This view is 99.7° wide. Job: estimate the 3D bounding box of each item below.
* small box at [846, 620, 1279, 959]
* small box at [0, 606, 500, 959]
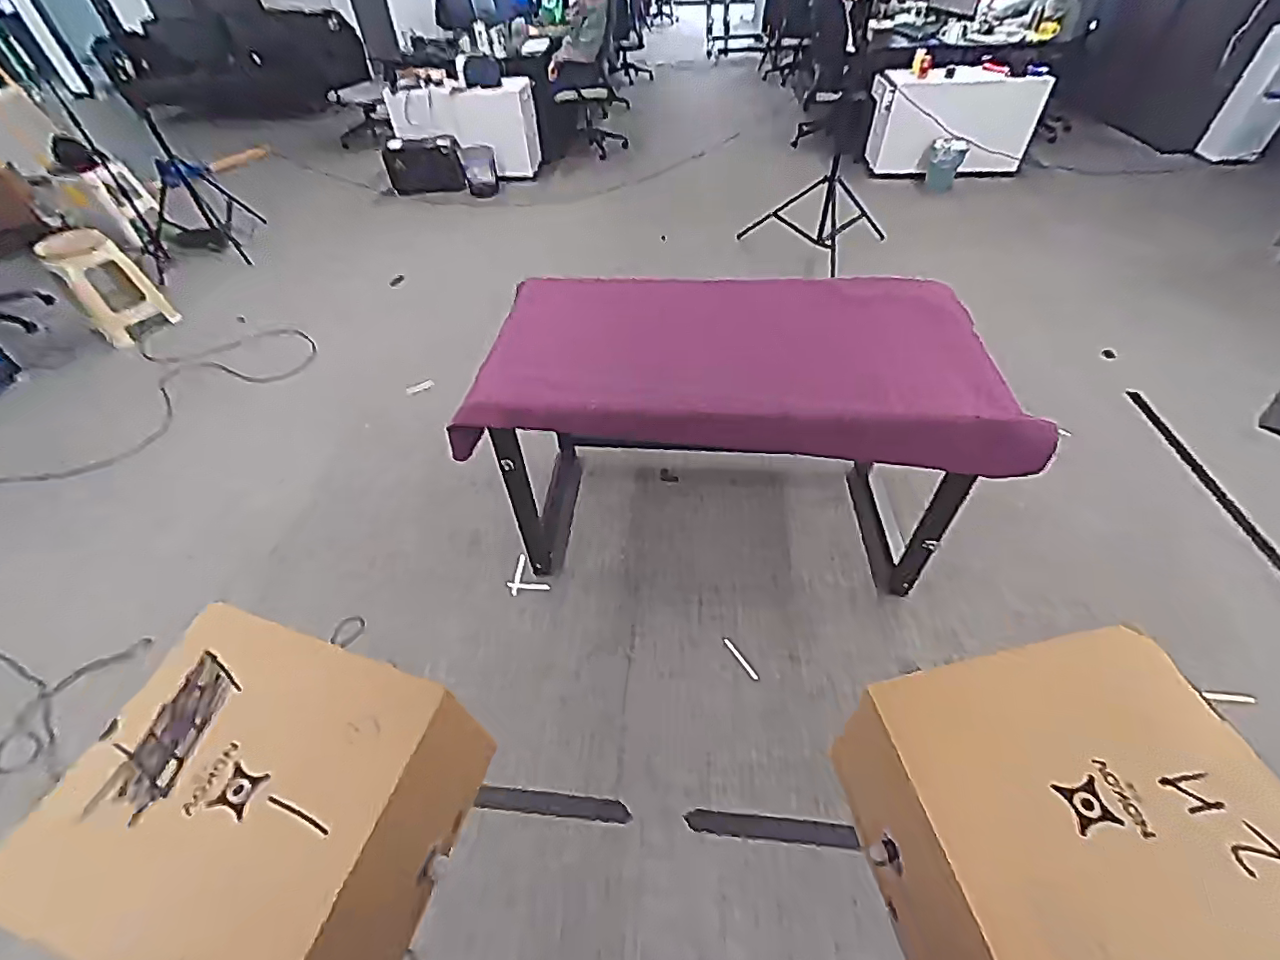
[{"bbox_3d":[0.246,0.215,0.339,0.179,0.176,0.168,-13,50,-2],"label":"small box"},{"bbox_3d":[-0.217,0.214,0.360,0.179,0.176,0.168,16,55,9],"label":"small box"}]
